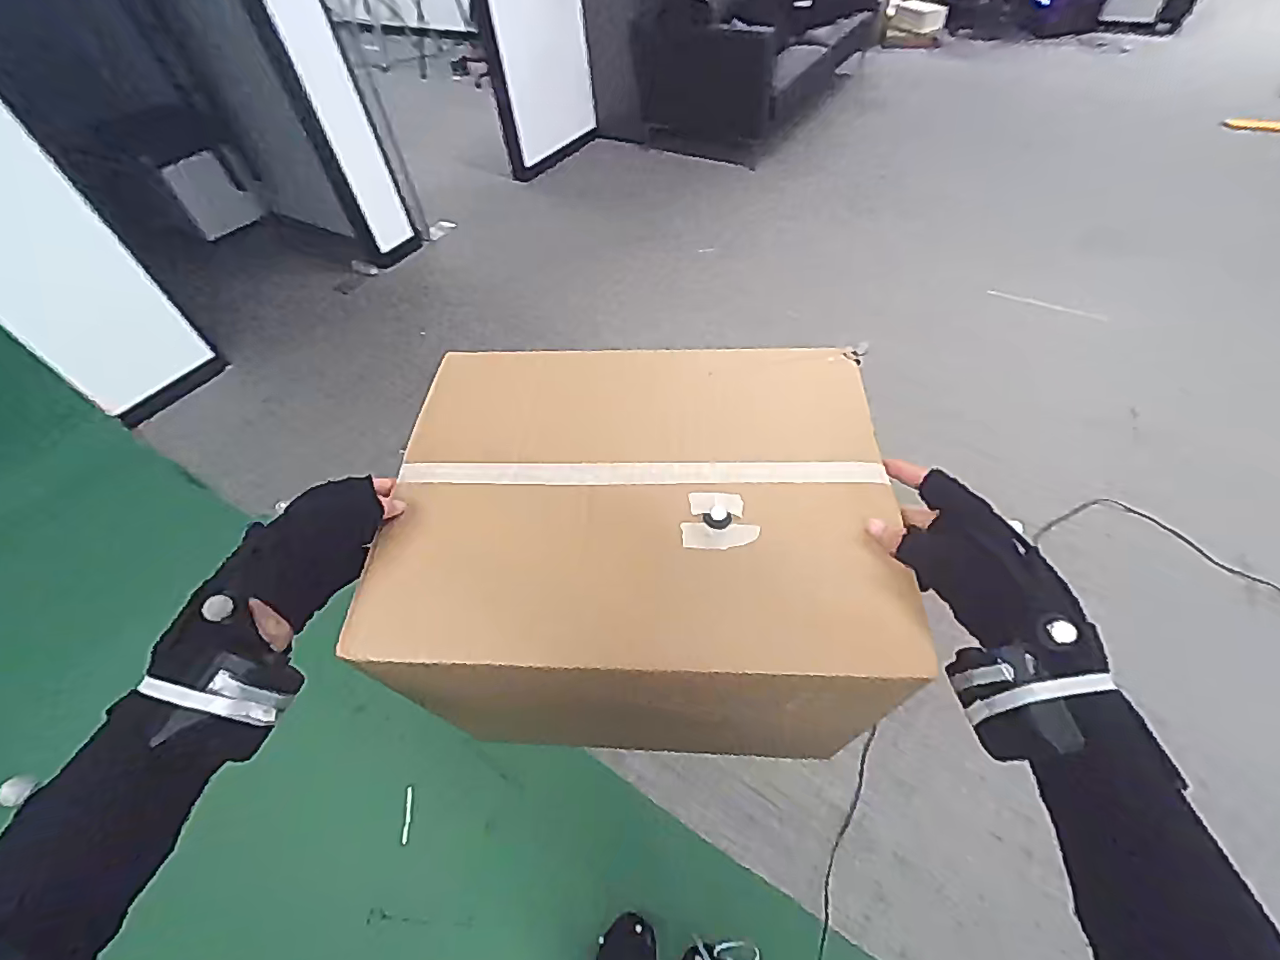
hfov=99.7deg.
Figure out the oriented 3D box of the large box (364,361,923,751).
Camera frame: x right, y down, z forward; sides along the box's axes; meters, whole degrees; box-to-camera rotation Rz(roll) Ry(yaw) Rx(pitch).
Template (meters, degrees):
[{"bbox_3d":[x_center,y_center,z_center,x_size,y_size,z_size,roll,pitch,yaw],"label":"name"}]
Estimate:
[{"bbox_3d":[0.009,0.094,0.583,0.408,0.320,0.320,0,55,5],"label":"large box"}]
